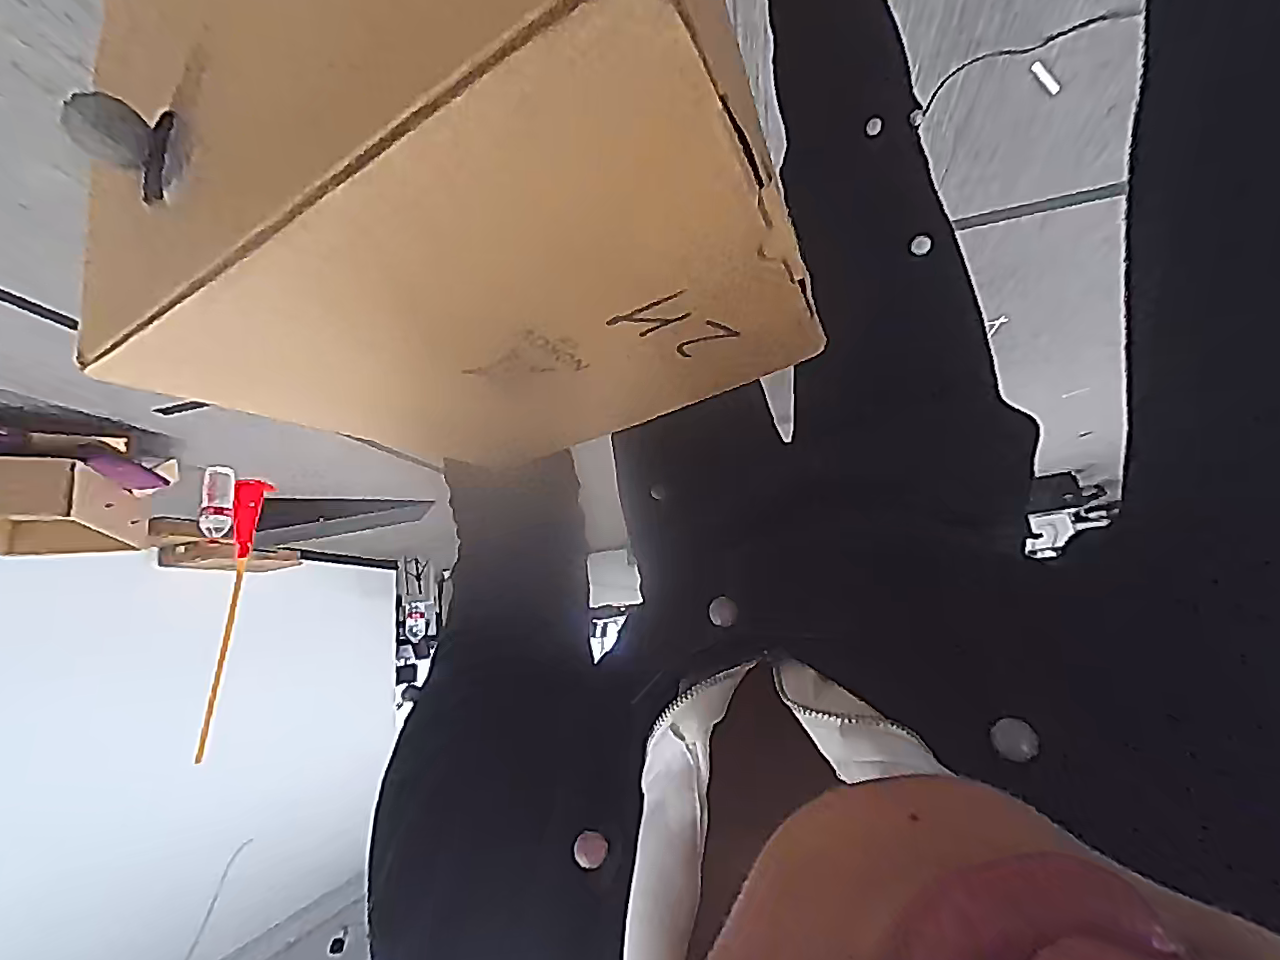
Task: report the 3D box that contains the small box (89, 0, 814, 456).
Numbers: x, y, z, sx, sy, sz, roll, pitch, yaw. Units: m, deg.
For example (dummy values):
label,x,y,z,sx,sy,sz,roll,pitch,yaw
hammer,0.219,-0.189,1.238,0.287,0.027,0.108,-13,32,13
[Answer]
label,x,y,z,sx,sy,sz,roll,pitch,yaw
small box,-0.053,-0.125,0.203,0.179,0.176,0.168,-18,165,23
